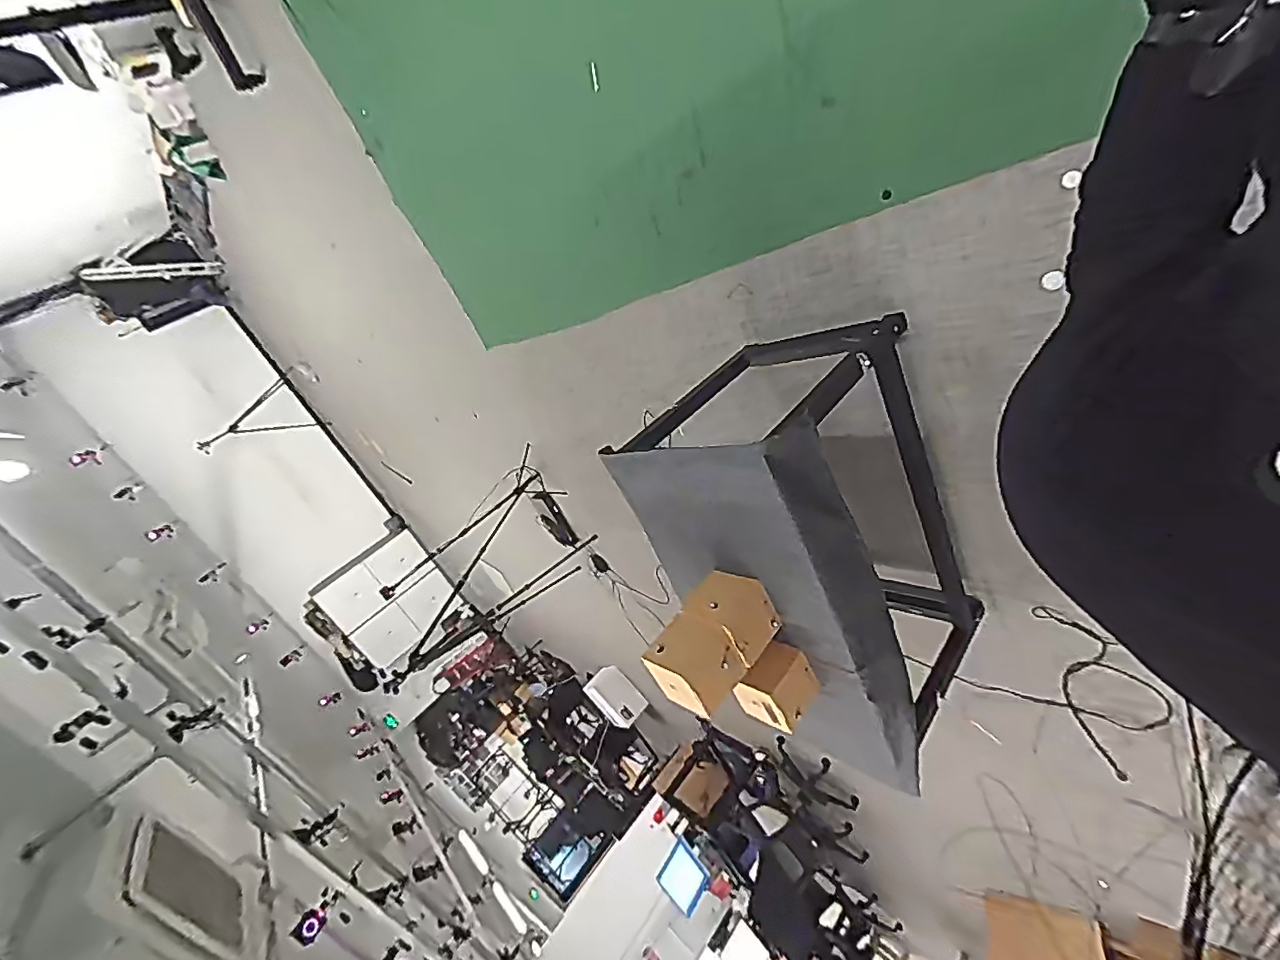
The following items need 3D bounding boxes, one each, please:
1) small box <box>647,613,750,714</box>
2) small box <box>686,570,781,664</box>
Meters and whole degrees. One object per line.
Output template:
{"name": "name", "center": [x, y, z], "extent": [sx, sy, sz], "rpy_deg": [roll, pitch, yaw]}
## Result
{"name": "small box", "center": [0.157, 0.475, 1.431], "extent": [0.179, 0.176, 0.168], "rpy_deg": [-1, 126, 54]}
{"name": "small box", "center": [0.267, 0.369, 1.492], "extent": [0.179, 0.176, 0.168], "rpy_deg": [3, 128, 54]}
